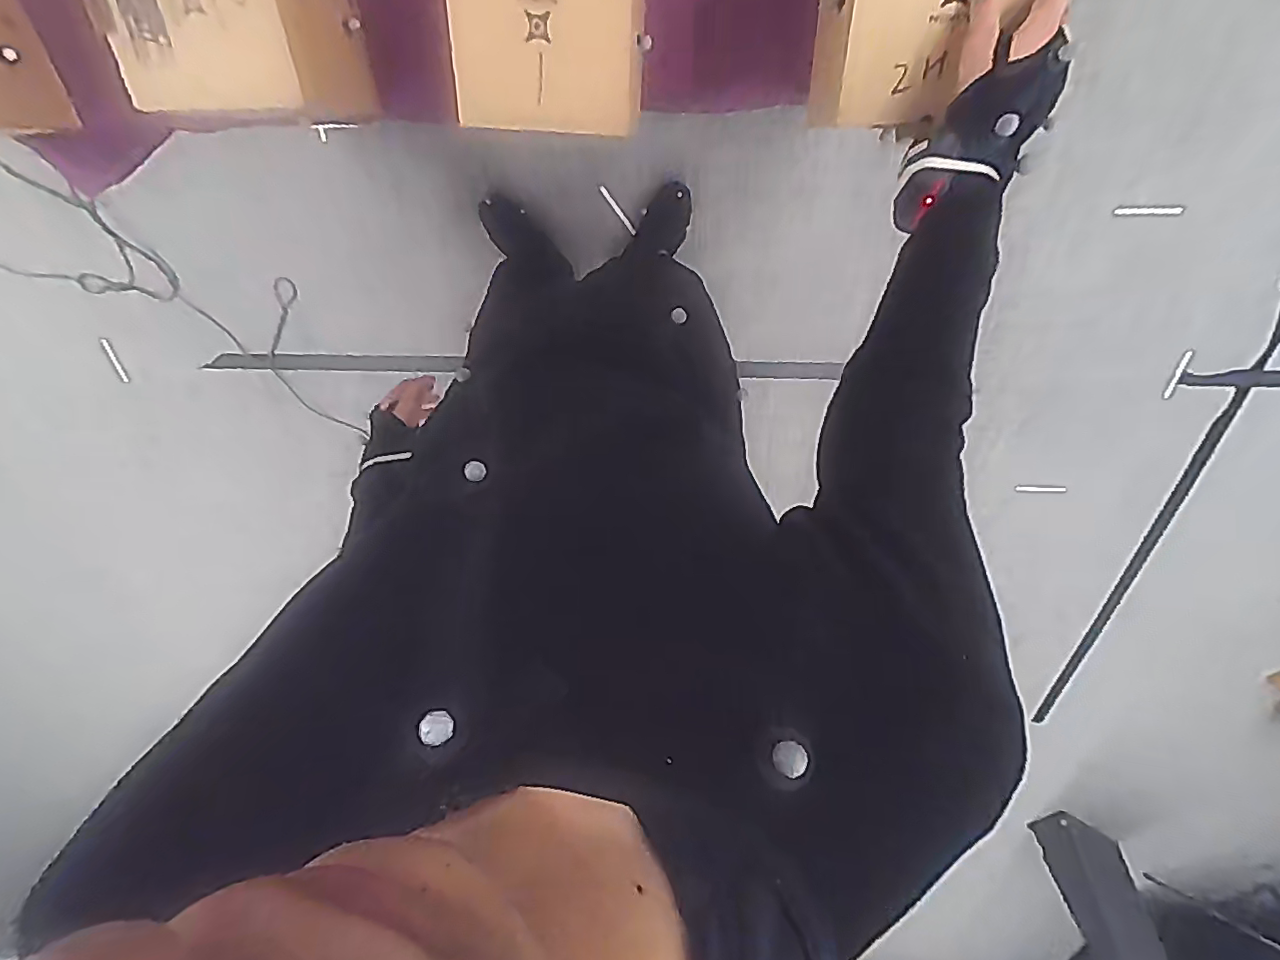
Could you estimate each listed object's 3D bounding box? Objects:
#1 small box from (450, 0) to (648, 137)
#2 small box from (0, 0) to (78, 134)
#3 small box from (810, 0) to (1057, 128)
[{"bbox_3d":[-0.080,-0.452,0.540,0.168,0.176,0.179,5,124,2],"label":"small box"},{"bbox_3d":[-0.797,-0.472,0.582,0.179,0.176,0.168,-2,123,4],"label":"small box"},{"bbox_3d":[0.268,-0.444,0.517,0.168,0.176,0.179,2,124,5],"label":"small box"}]
